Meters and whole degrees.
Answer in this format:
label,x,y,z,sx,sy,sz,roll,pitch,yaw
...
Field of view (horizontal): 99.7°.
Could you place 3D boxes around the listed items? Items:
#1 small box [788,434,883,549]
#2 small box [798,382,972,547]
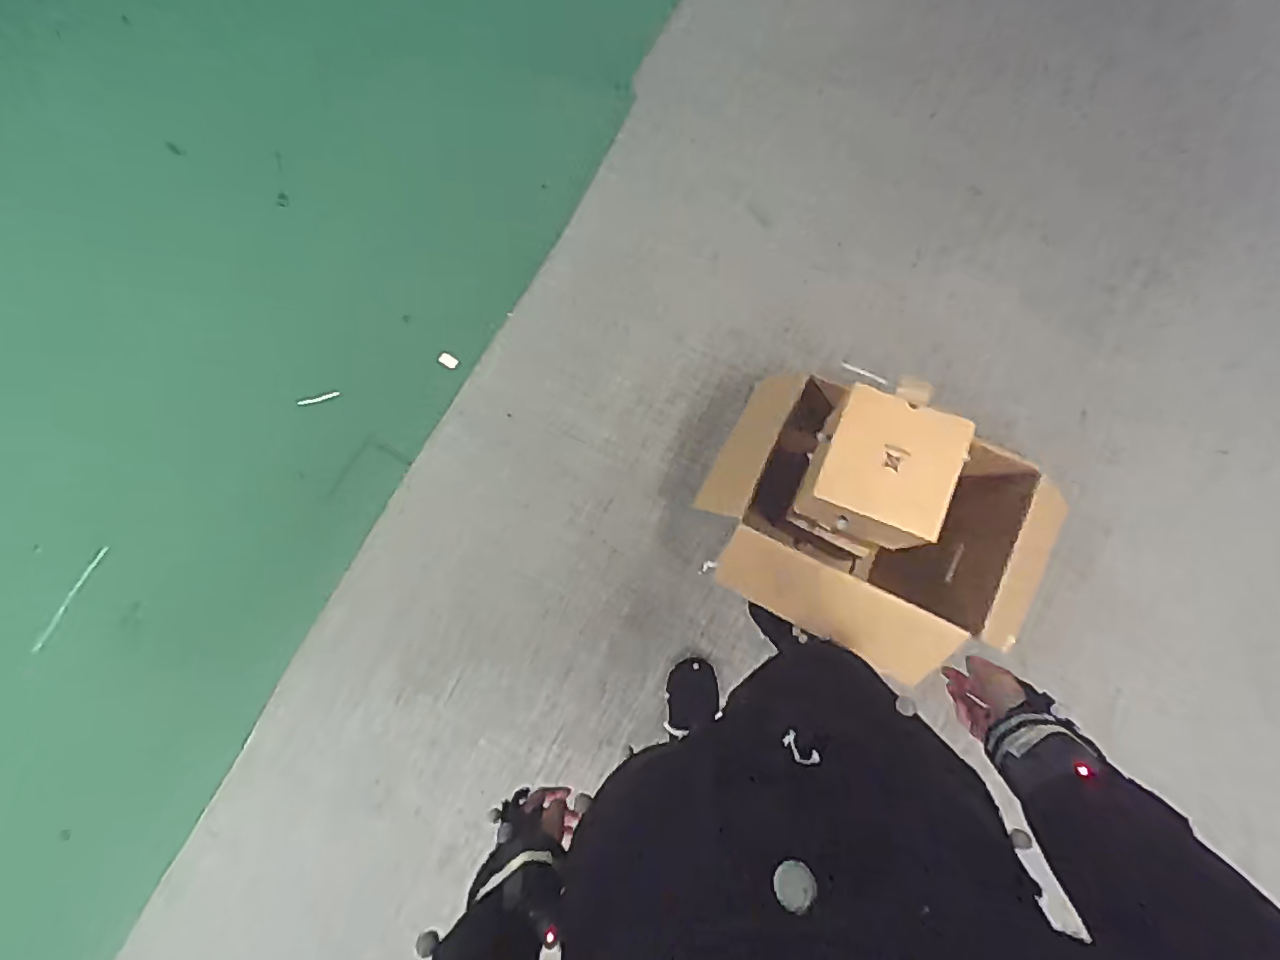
label,x,y,z,sx,sy,sz,roll,pitch,yaw
small box,0.375,0.008,0.956,0.168,0.176,0.179,25,83,11
small box,0.345,-0.012,0.797,0.168,0.176,0.179,22,81,11
